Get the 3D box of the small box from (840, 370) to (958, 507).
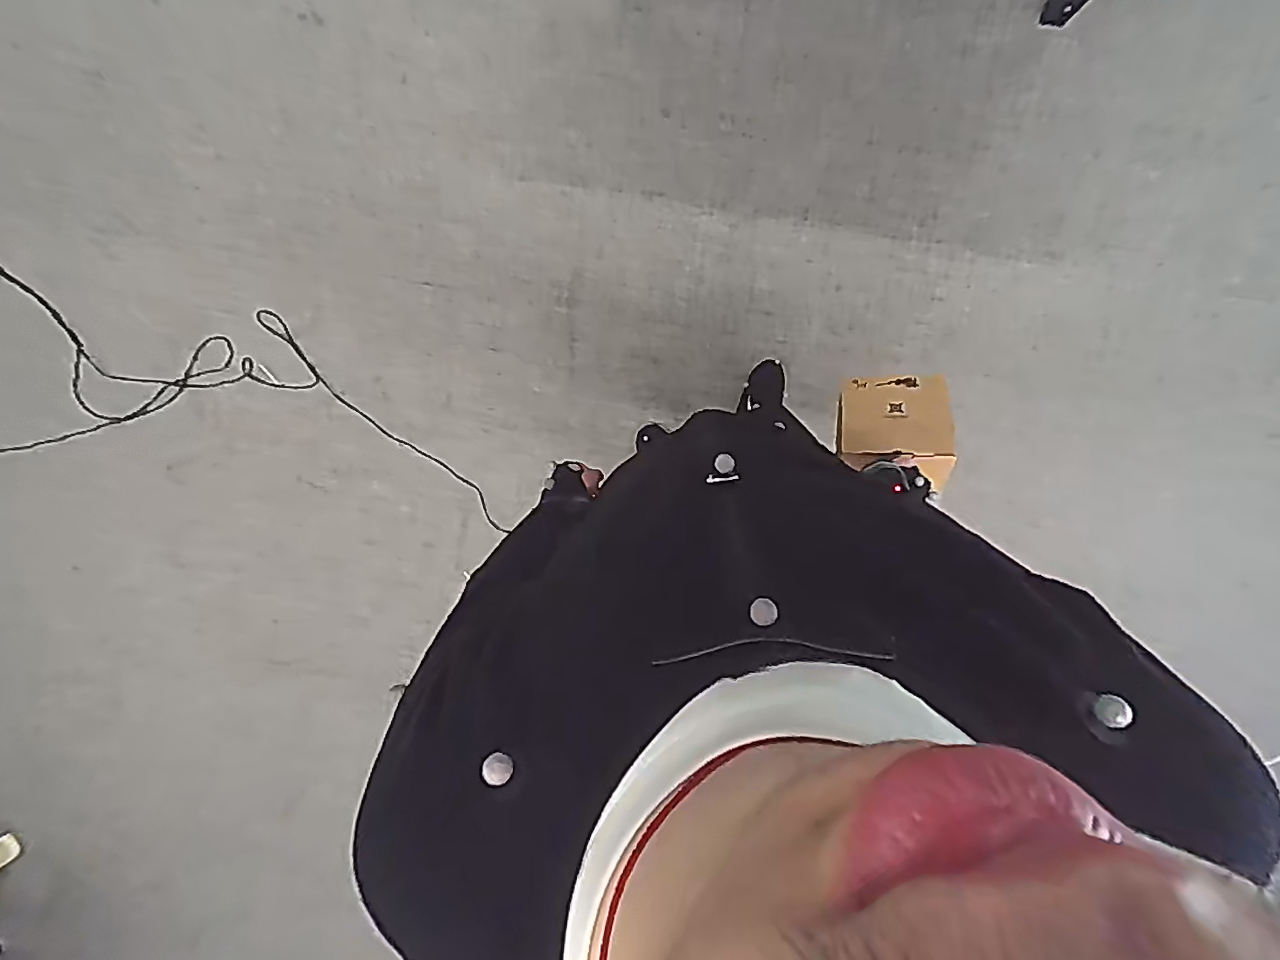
[{"bbox_3d":[0.438,-0.065,0.938,0.168,0.176,0.179,-1,55,19],"label":"small box"}]
